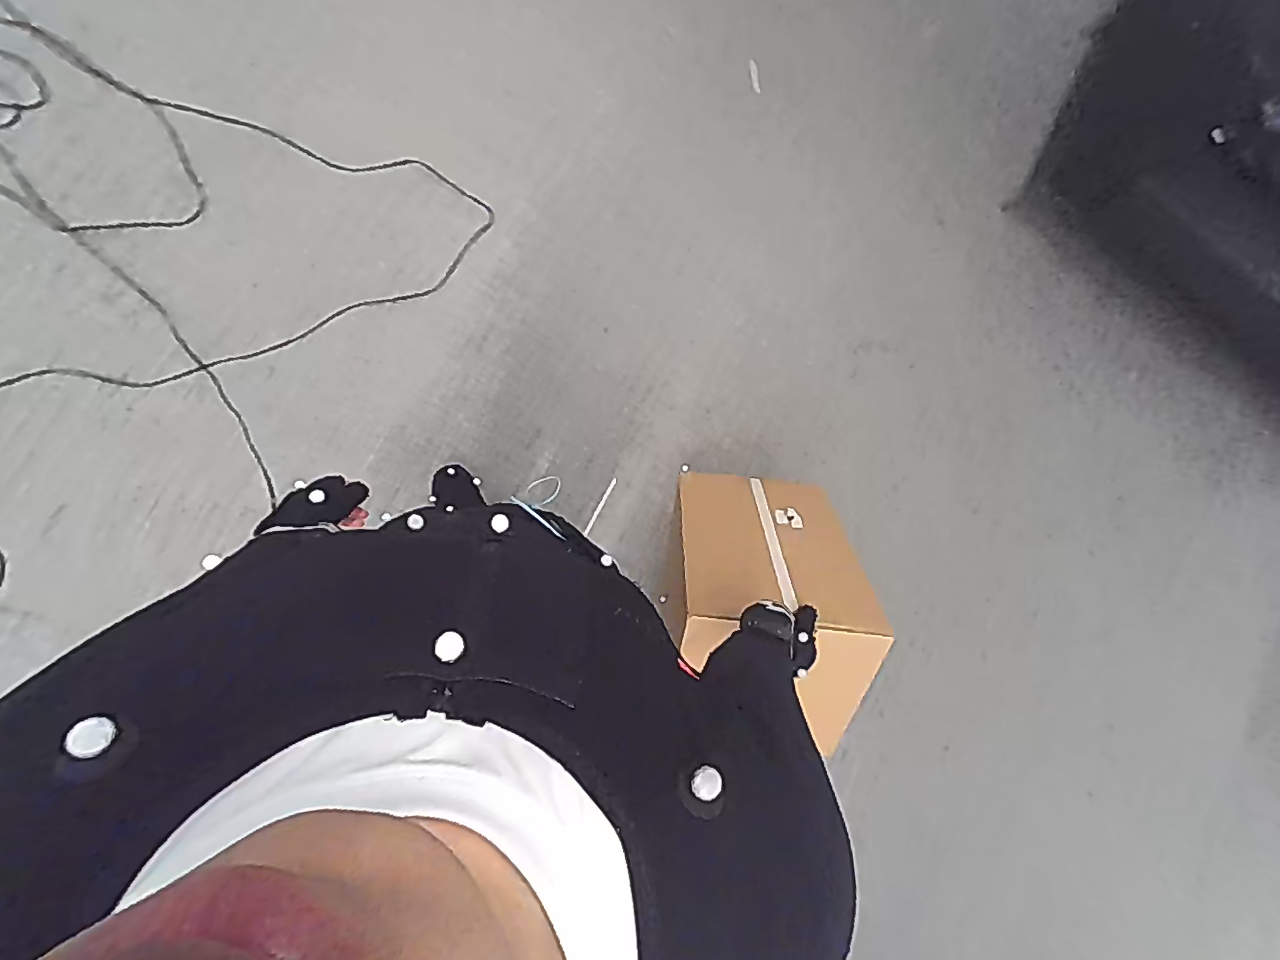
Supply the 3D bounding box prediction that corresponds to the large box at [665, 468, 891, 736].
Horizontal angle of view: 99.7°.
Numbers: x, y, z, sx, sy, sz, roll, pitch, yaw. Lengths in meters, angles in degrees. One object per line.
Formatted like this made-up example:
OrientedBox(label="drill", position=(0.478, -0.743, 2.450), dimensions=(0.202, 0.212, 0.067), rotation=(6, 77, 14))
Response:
OrientedBox(label="large box", position=(0.218, 0.221, 1.047), dimensions=(0.320, 0.408, 0.320), rotation=(6, 122, -2))
